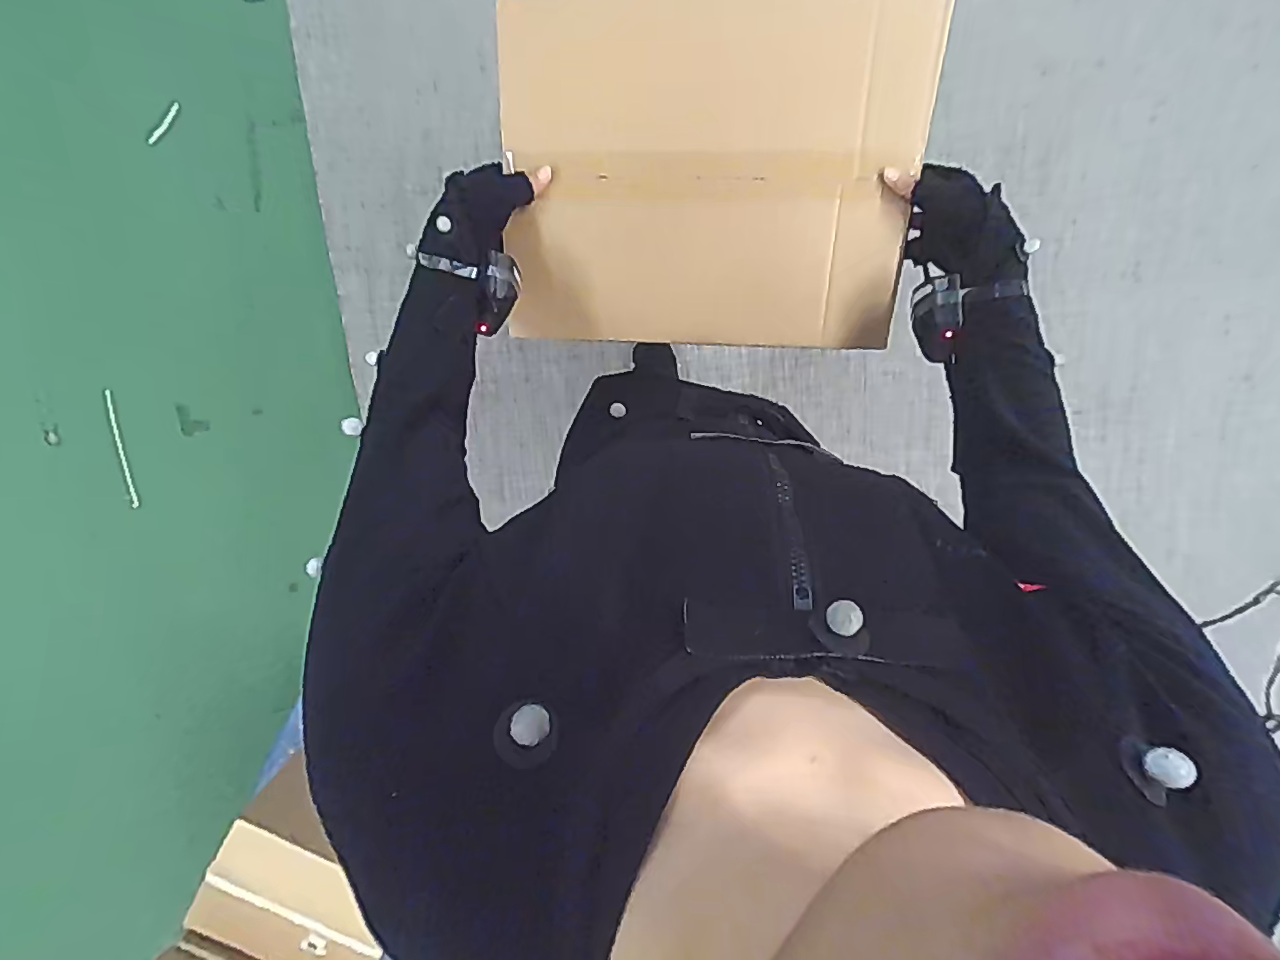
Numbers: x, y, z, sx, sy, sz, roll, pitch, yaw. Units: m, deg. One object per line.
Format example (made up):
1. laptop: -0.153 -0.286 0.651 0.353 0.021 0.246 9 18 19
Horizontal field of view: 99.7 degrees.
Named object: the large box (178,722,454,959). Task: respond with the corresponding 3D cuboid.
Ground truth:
1. large box: -0.731 0.863 1.280 0.408 0.320 0.320 31 100 -6
